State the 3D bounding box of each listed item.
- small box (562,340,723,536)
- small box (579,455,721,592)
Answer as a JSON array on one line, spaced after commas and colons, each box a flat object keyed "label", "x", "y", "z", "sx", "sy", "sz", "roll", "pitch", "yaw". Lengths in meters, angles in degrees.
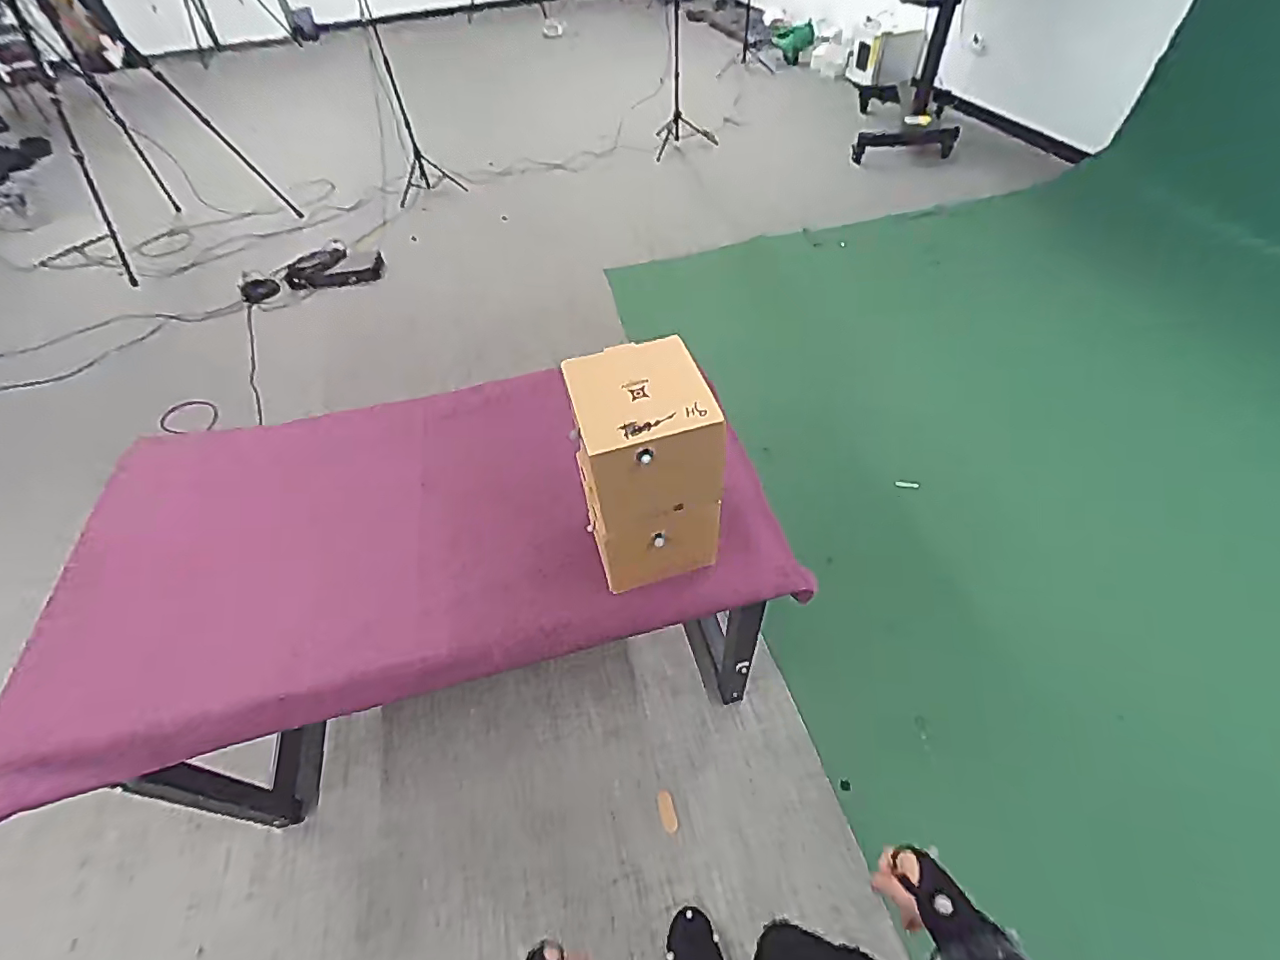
[{"label": "small box", "x": 0.003, "y": -0.055, "z": 0.729, "sx": 0.168, "sy": 0.176, "sz": 0.179, "roll": -16, "pitch": 51, "yaw": -5}, {"label": "small box", "x": 0.016, "y": 0.050, "z": 0.855, "sx": 0.179, "sy": 0.176, "sz": 0.168, "roll": -17, "pitch": 52, "yaw": -6}]
